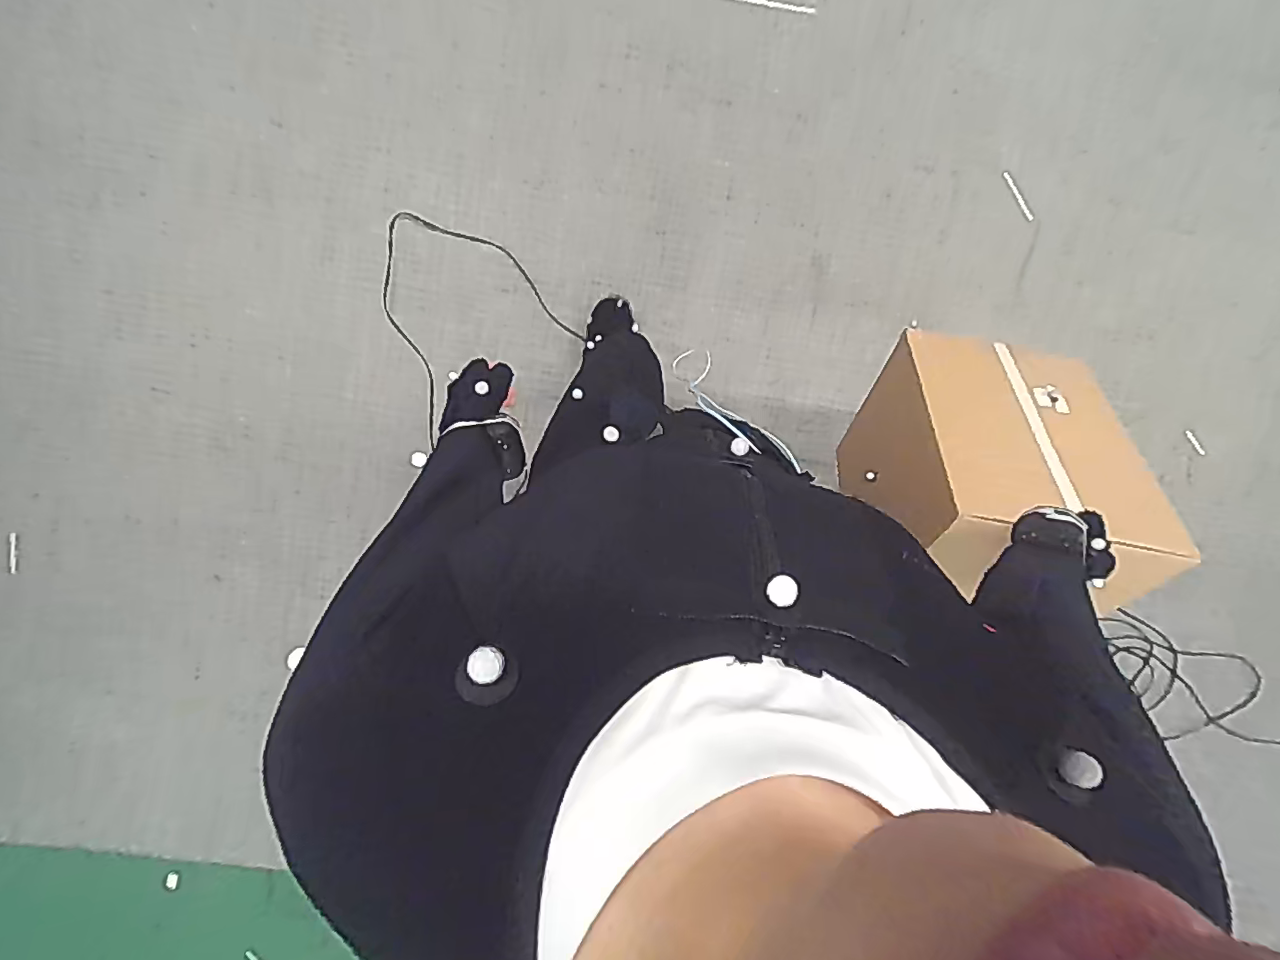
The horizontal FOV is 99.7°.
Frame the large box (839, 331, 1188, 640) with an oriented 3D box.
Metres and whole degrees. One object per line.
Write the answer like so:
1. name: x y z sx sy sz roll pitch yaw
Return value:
1. large box: 0.561 0.010 0.926 0.320 0.408 0.320 11 141 0
